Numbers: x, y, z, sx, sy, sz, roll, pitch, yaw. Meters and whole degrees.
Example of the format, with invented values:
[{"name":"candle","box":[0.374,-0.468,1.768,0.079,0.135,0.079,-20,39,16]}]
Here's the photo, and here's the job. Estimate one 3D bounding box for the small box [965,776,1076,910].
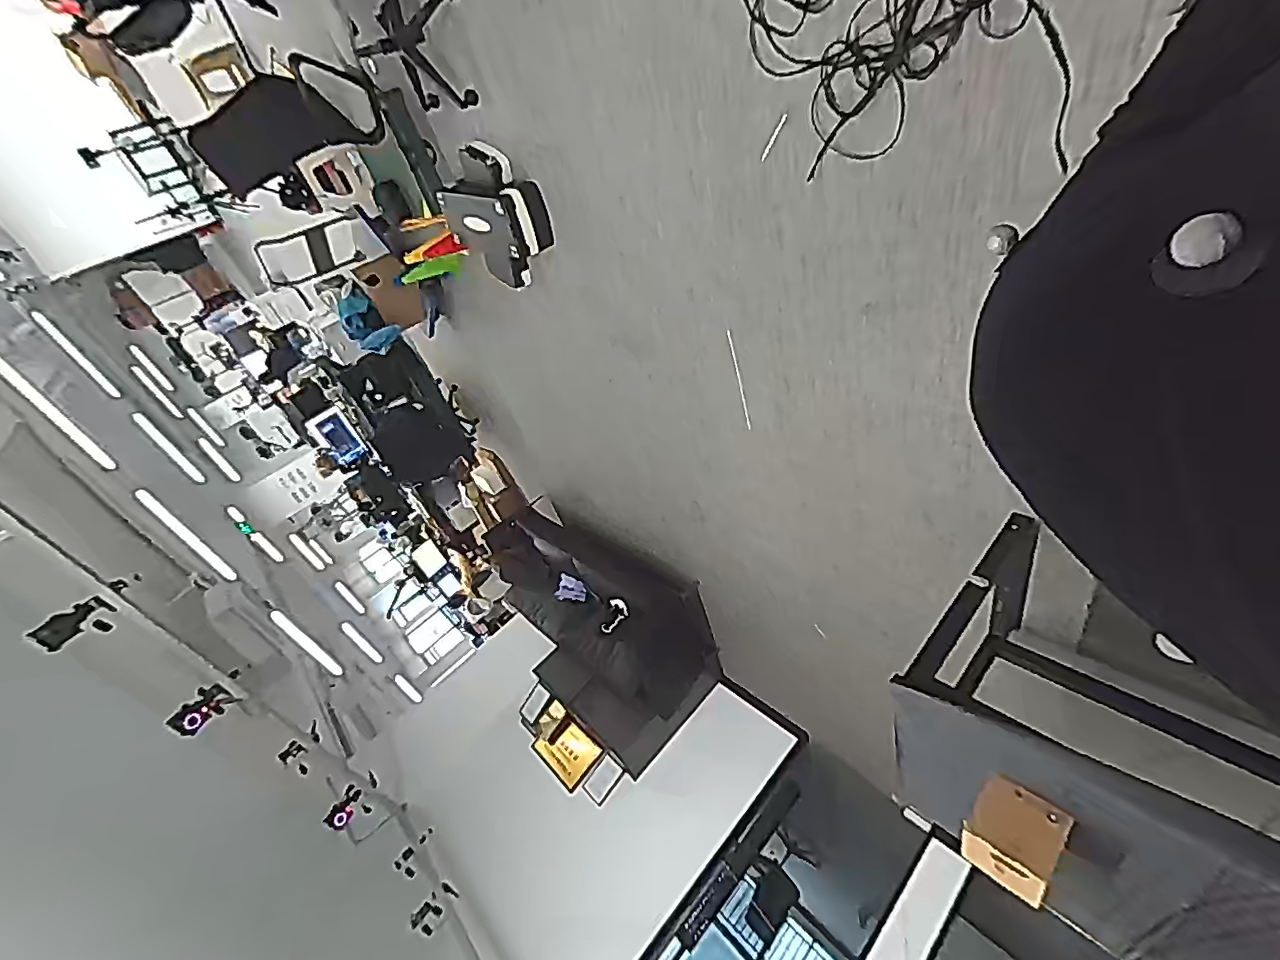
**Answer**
[{"name":"small box","box":[0.886,0.838,1.263,0.168,0.176,0.179,22,144,45]}]
